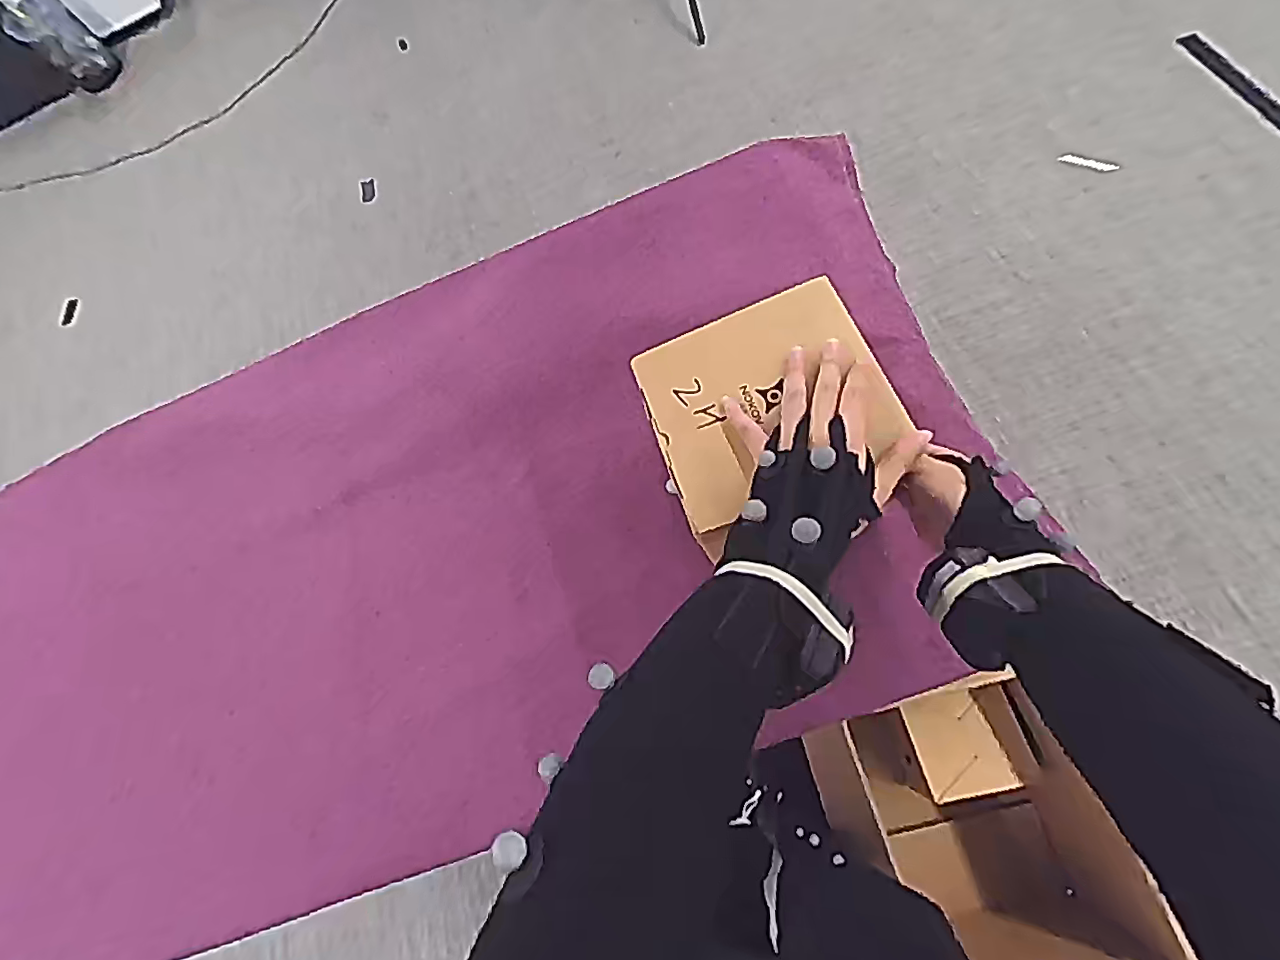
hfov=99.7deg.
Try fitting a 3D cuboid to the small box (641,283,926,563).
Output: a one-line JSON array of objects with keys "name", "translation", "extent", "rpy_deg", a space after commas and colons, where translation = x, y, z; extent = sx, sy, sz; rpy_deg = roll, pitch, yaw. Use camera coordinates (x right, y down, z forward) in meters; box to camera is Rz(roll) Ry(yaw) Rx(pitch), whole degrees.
[{"name": "small box", "translation": [0.120, -0.037, 0.495], "extent": [0.179, 0.176, 0.168], "rpy_deg": [-21, 68, 7]}]
